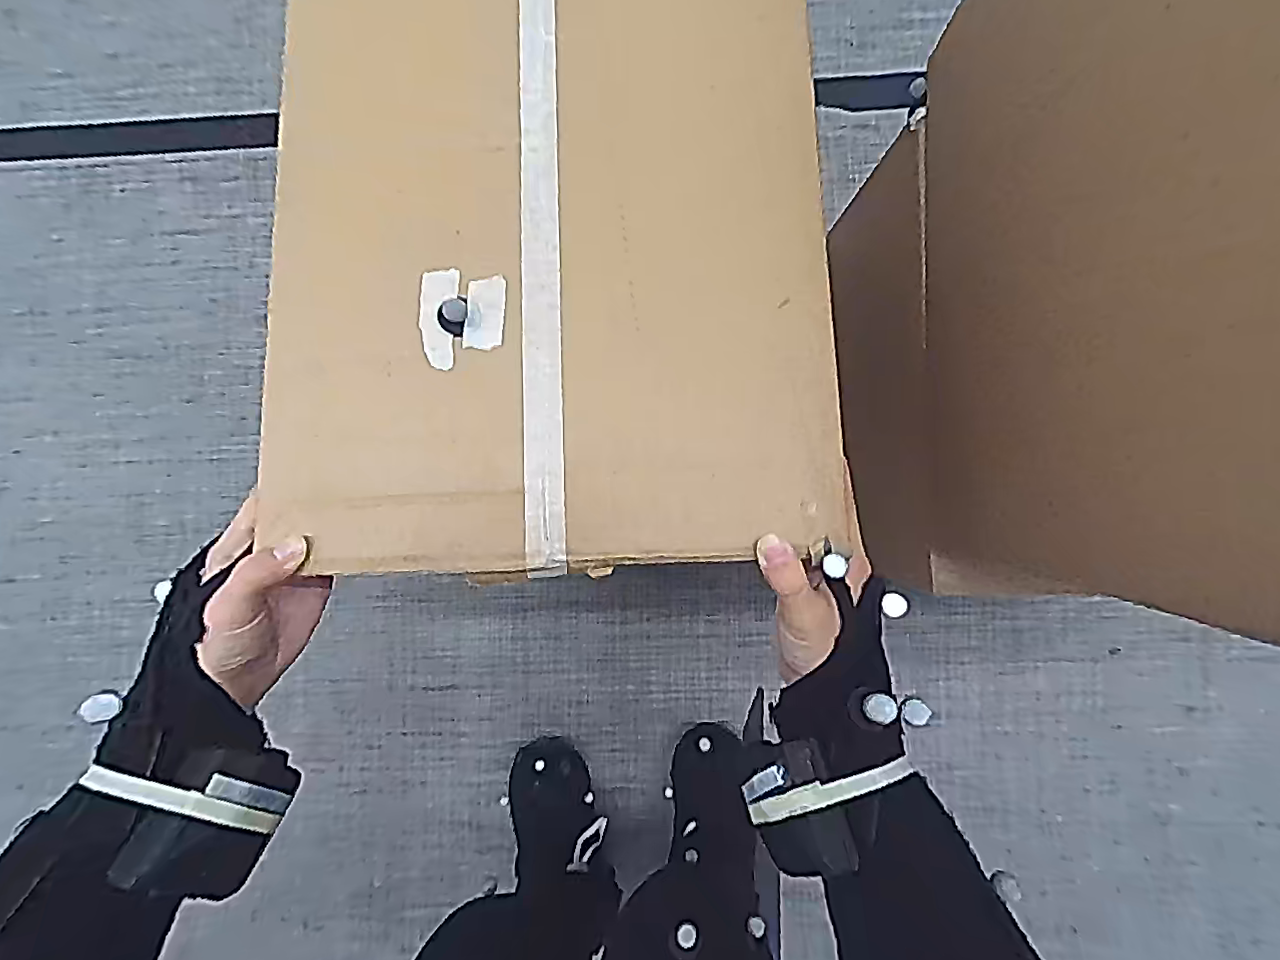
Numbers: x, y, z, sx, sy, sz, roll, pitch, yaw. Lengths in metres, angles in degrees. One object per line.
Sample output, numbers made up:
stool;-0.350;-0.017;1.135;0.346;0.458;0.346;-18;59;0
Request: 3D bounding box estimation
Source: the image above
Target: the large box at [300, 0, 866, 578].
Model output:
large box;-0.040;-0.134;0.461;0.320;0.320;0.408;-3;83;2
